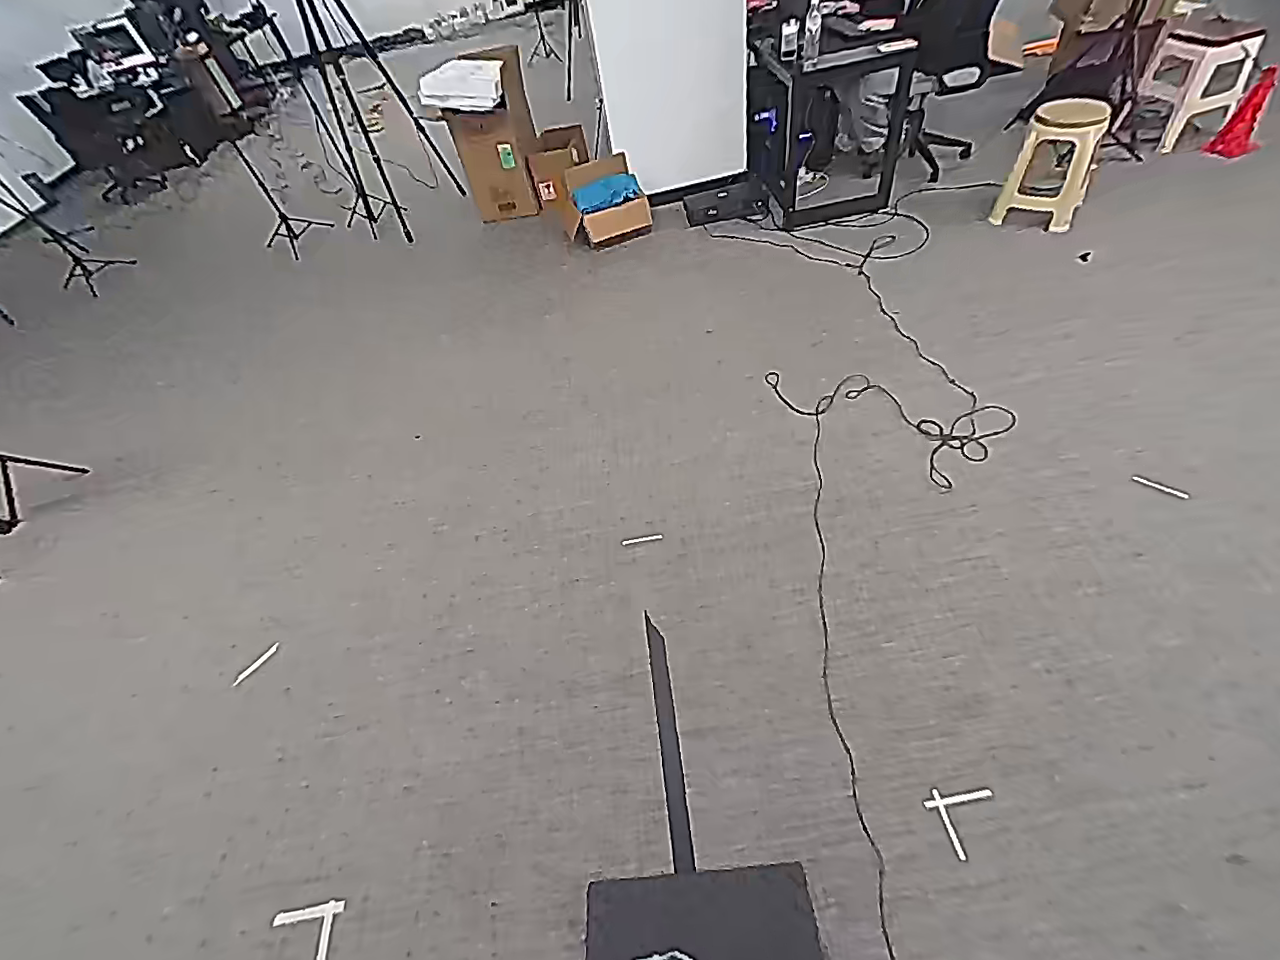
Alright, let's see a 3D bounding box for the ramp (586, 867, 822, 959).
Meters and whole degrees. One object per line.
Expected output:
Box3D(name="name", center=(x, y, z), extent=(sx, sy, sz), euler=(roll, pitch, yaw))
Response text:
Box3D(name="ramp", center=(0.138, 1.211, 0.835), extent=(0.509, 0.206, 0.991), euler=(-11, 48, 4))
